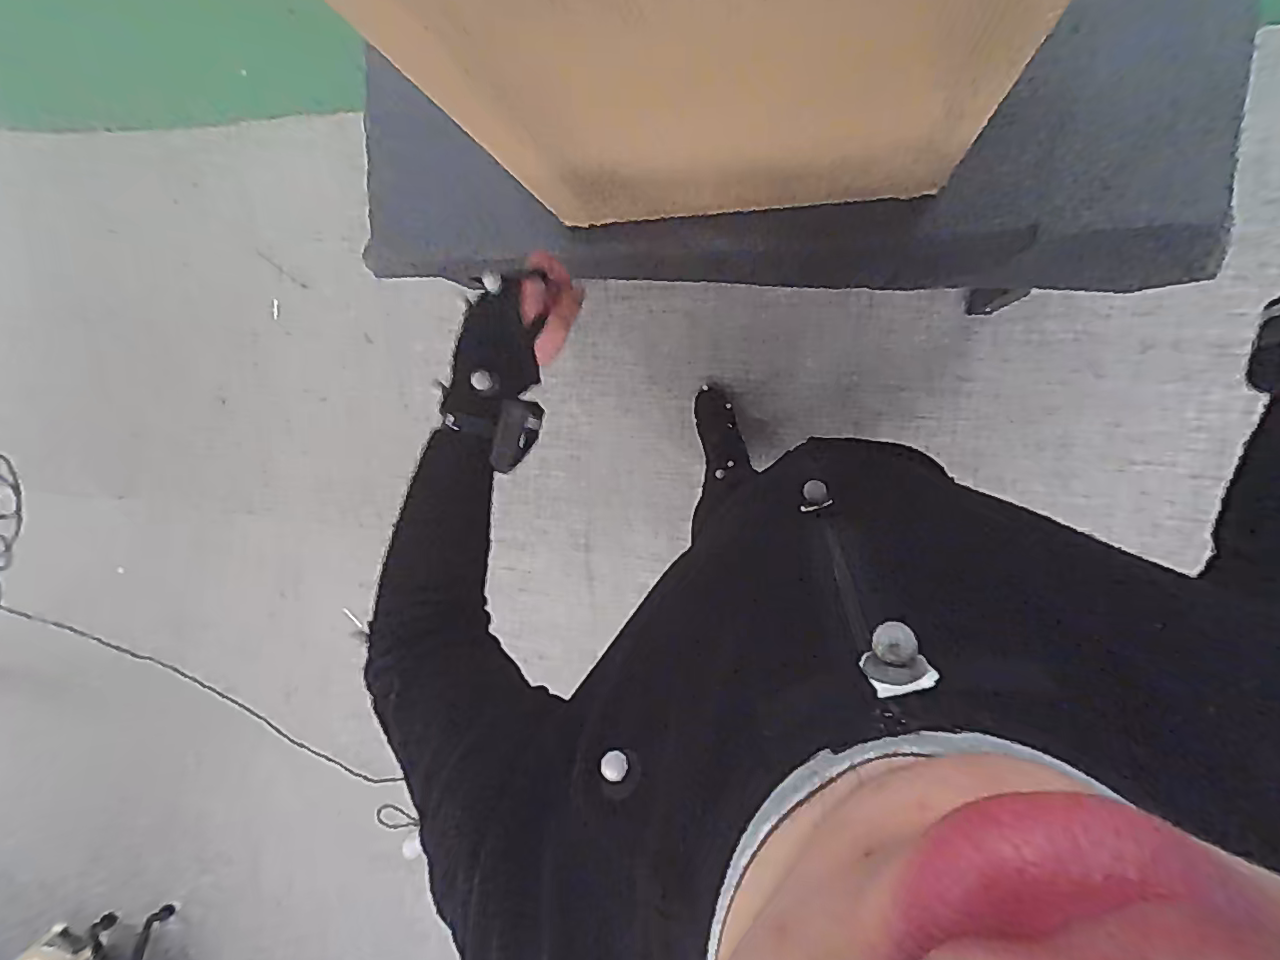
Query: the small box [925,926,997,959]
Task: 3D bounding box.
[{"bbox_3d":[0.900,1.393,1.487,0.168,0.176,0.179,1,96,12],"label":"small box"}]
